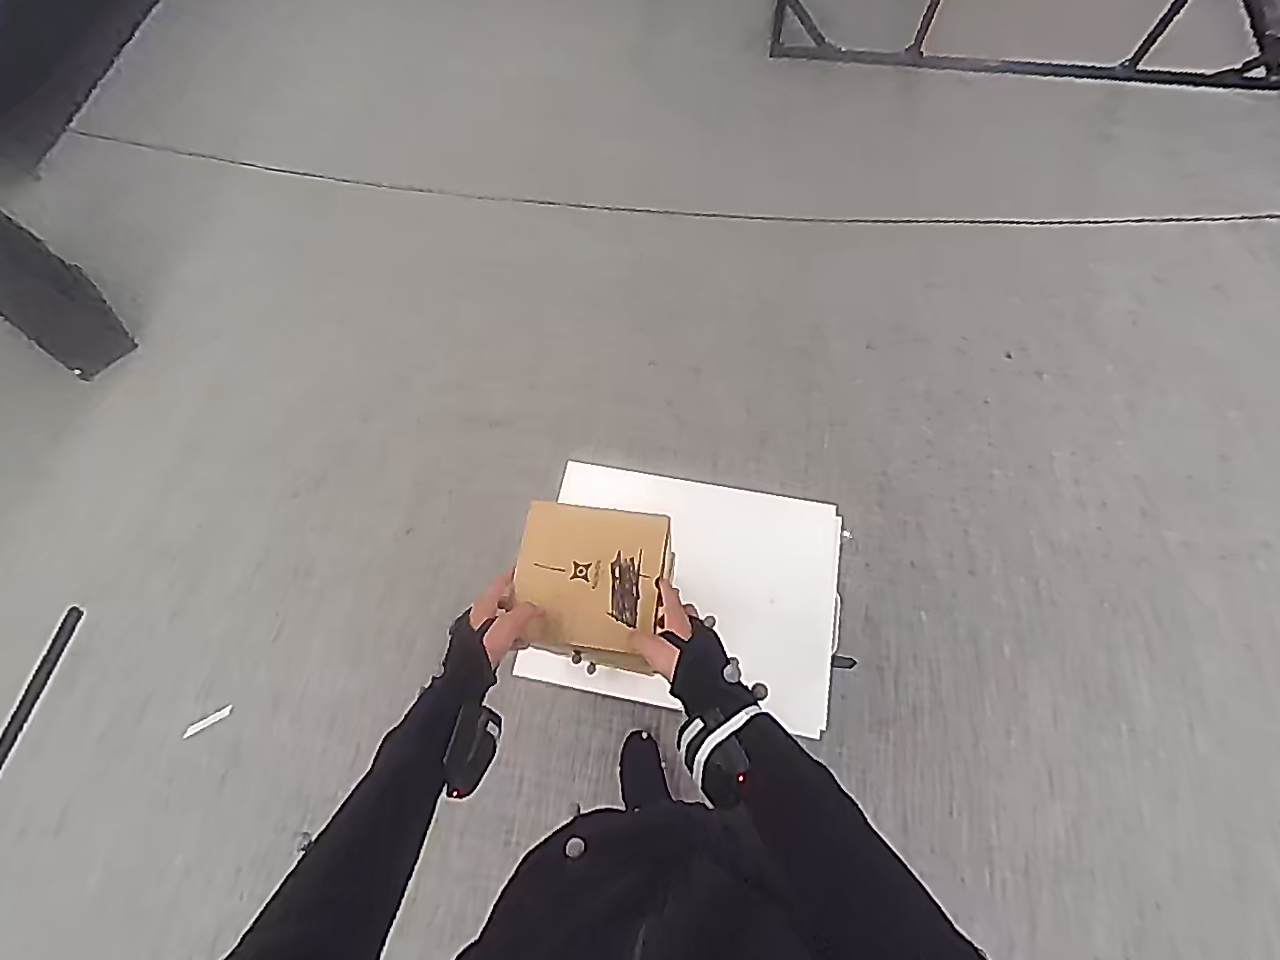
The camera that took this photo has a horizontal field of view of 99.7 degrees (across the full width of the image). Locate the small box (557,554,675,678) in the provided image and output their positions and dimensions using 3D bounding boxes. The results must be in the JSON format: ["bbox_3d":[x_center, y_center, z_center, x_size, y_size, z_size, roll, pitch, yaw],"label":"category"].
[{"bbox_3d":[-0.044,0.204,0.852,0.168,0.176,0.179,11,69,7],"label":"small box"}]

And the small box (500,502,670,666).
[{"bbox_3d":[-0.056,0.142,0.700,0.179,0.176,0.168,6,68,7],"label":"small box"}]
